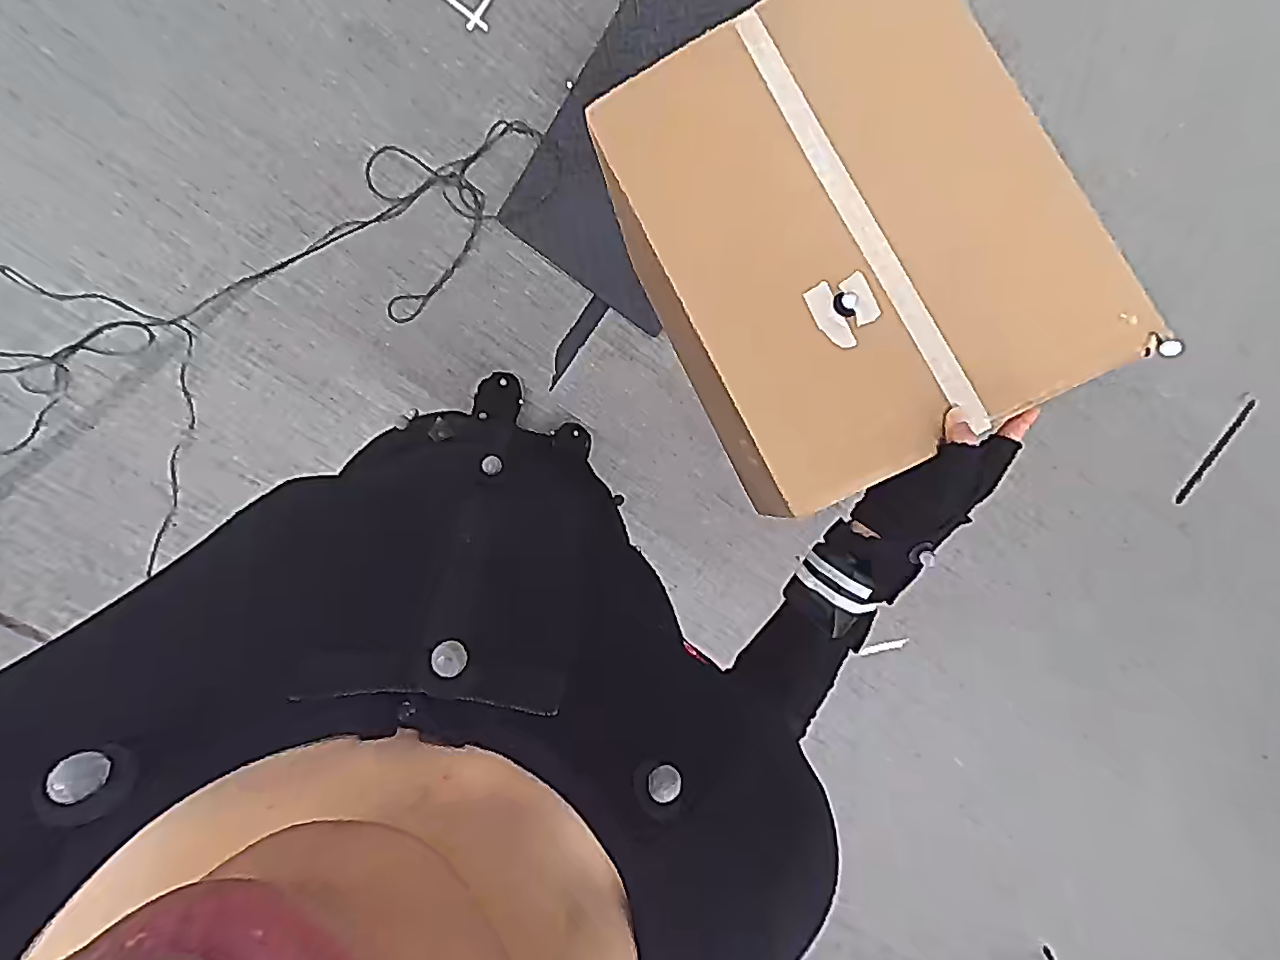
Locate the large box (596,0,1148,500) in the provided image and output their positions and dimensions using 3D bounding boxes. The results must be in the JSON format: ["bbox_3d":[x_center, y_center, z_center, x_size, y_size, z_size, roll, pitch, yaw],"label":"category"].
[{"bbox_3d":[0.197,-0.221,0.606,0.320,0.320,0.408,-27,85,6],"label":"large box"}]

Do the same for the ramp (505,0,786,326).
[{"bbox_3d":[0.145,-0.915,1.265,0.509,0.206,0.991,32,95,-13],"label":"ramp"}]
